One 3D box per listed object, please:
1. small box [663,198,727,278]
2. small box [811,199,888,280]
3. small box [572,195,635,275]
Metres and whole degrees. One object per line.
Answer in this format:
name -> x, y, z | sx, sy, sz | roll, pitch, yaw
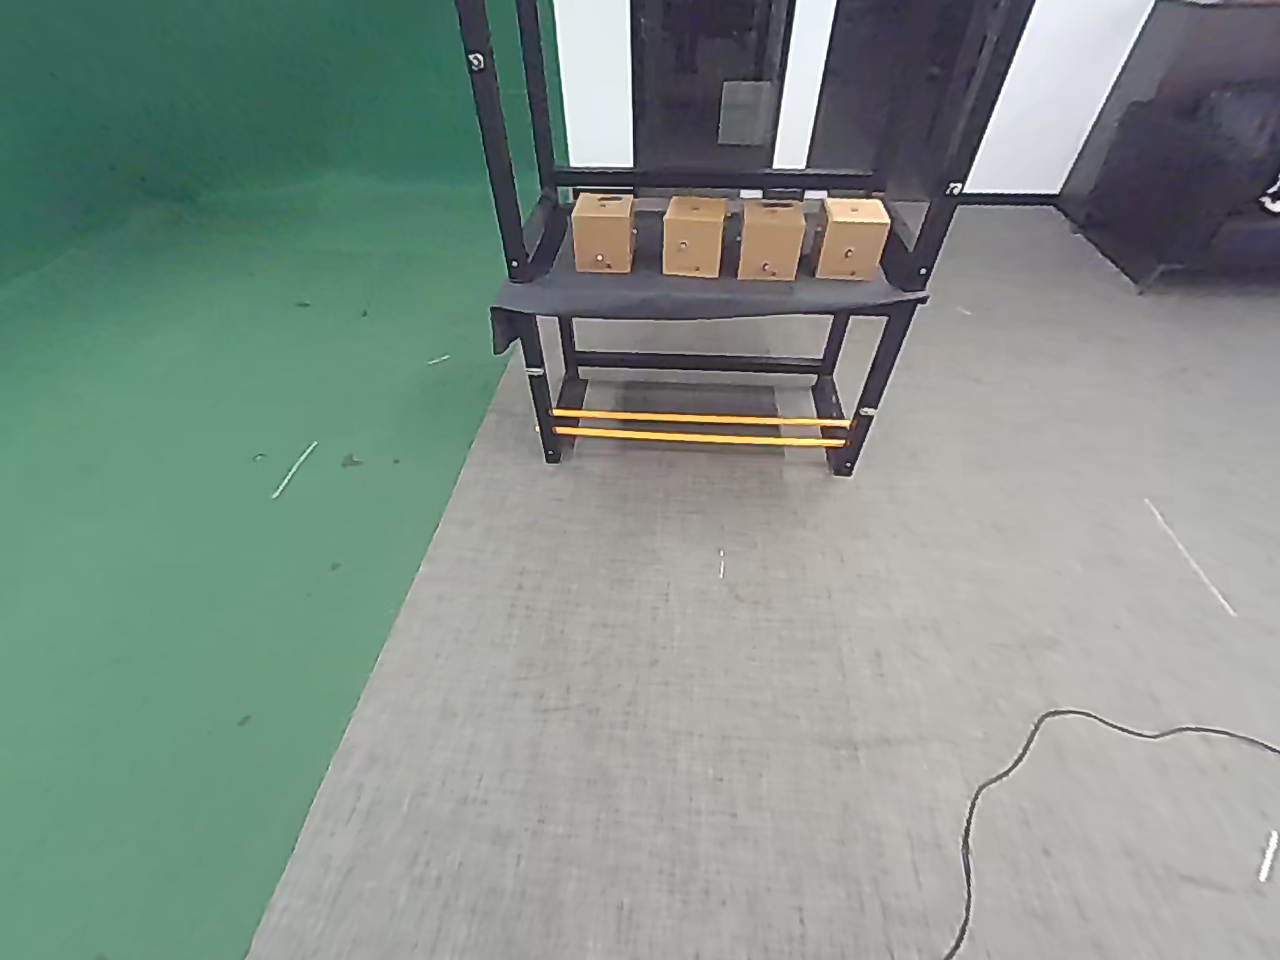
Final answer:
small box -> 0.163, -0.720, 1.613 | 0.168, 0.176, 0.179 | 7, 47, 8
small box -> 0.603, -0.701, 1.579 | 0.168, 0.176, 0.179 | 5, 46, 6
small box -> -0.105, -0.741, 1.635 | 0.168, 0.176, 0.179 | 3, 47, 4
